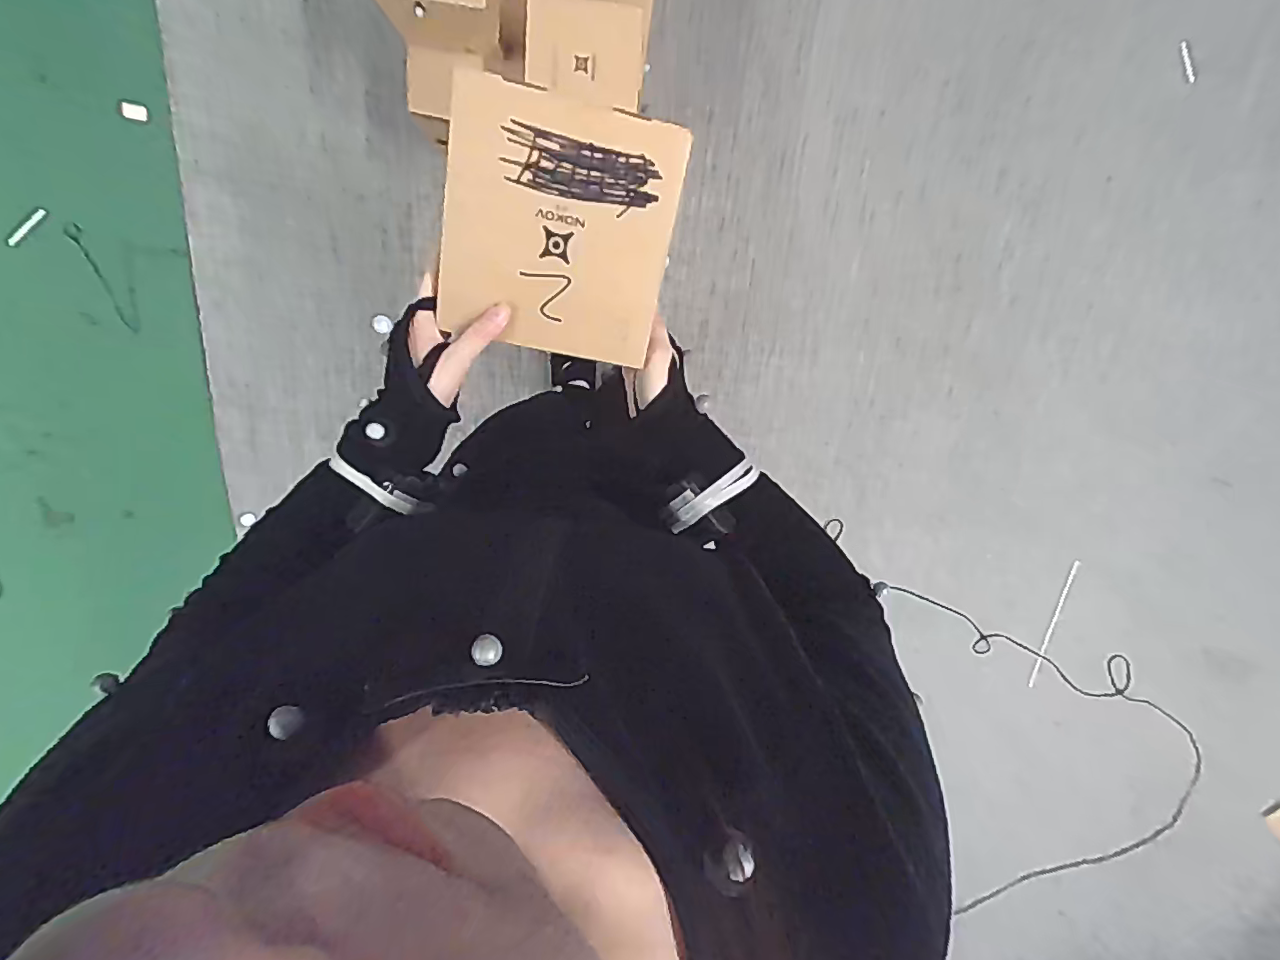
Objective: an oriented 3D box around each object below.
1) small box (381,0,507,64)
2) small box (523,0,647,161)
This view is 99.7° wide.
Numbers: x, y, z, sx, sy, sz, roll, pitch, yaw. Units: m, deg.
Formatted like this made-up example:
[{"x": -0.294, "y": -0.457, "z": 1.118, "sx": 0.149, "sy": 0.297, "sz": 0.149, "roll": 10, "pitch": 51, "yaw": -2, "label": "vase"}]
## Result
[{"x": -0.298, "y": -0.778, "z": 0.817, "sx": 0.168, "sy": 0.176, "sz": 0.179, "roll": 5, "pitch": 106, "yaw": -6, "label": "small box"}, {"x": -0.090, "y": -0.637, "z": 0.879, "sx": 0.179, "sy": 0.176, "sz": 0.168, "roll": 4, "pitch": 107, "yaw": -6, "label": "small box"}]
